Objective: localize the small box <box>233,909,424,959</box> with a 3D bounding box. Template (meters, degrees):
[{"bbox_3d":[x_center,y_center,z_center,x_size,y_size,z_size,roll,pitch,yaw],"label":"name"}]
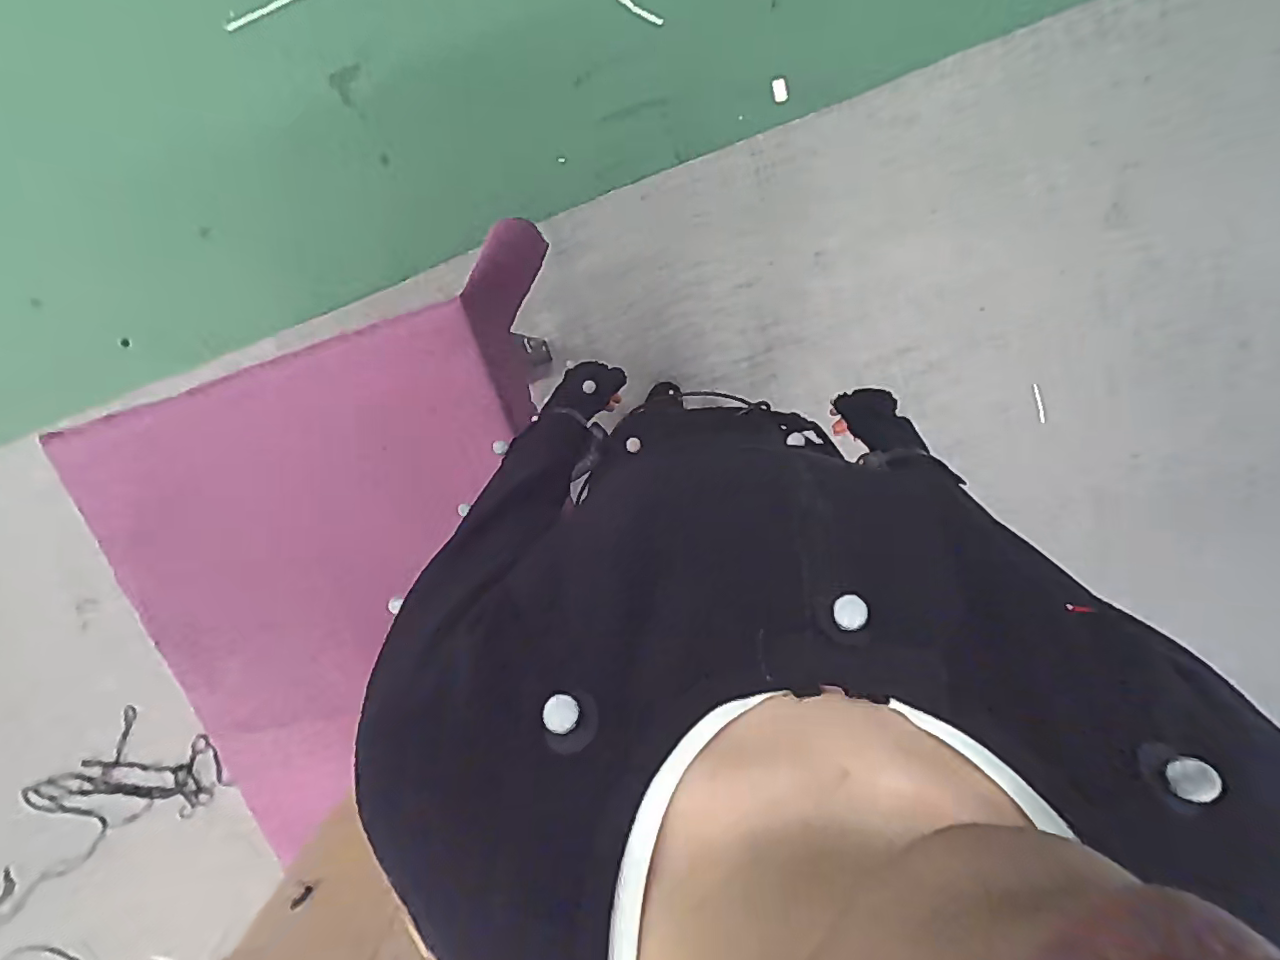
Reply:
[{"bbox_3d":[-0.272,0.489,0.417,0.179,0.176,0.168,-18,101,4],"label":"small box"}]
